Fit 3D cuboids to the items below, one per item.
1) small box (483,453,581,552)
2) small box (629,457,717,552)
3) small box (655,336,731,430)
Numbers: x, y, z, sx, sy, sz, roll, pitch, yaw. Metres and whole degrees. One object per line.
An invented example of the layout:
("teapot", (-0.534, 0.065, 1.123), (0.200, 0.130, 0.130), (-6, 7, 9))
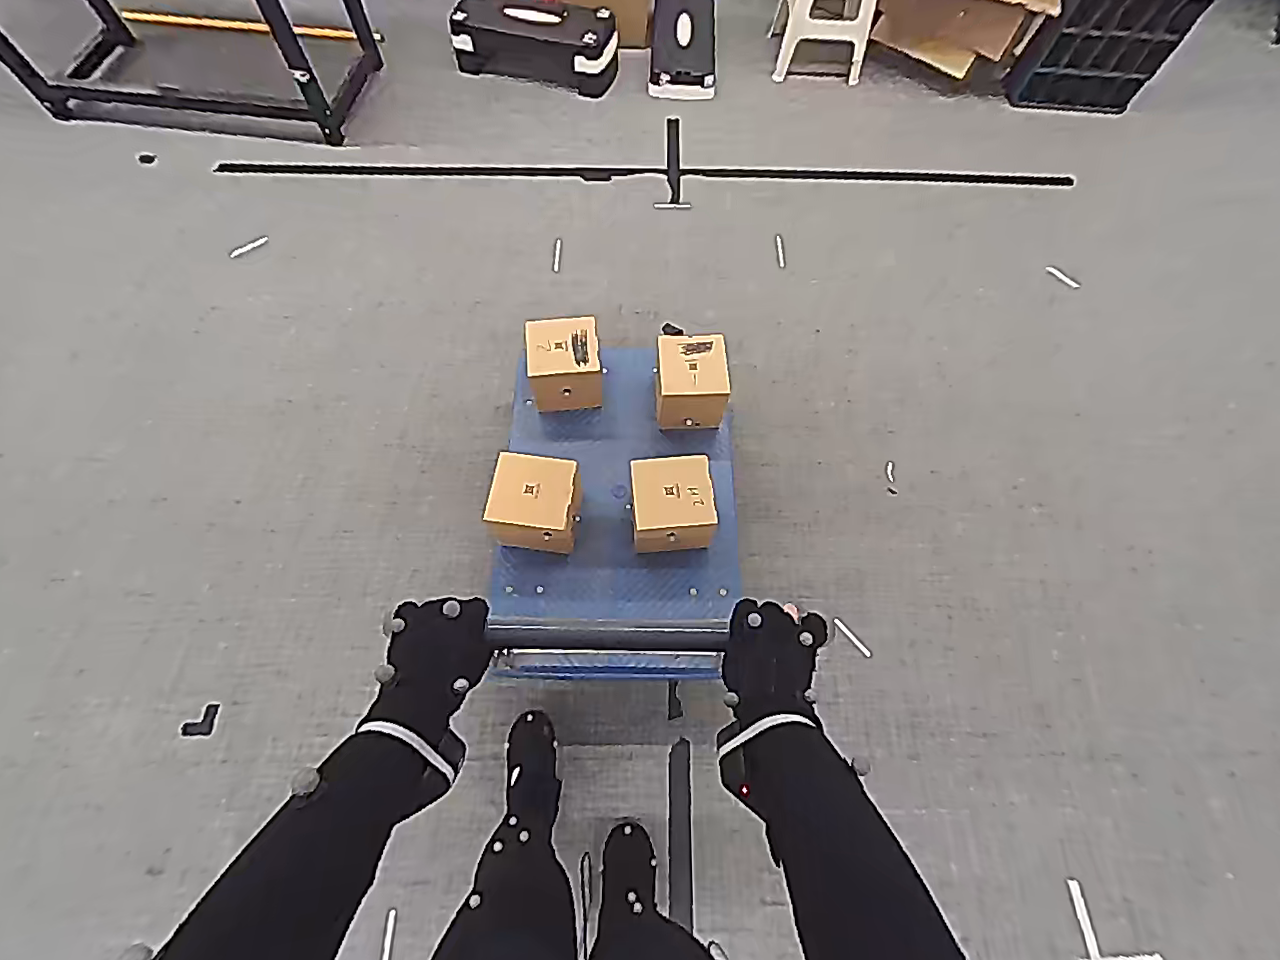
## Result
("small box", (-0.235, 0.057, 1.227), (0.179, 0.176, 0.168), (7, 65, 0))
("small box", (0.069, 0.061, 1.231), (0.179, 0.176, 0.168), (-4, 66, -3))
("small box", (0.128, -0.244, 1.369), (0.168, 0.176, 0.179), (-2, 67, -2))
